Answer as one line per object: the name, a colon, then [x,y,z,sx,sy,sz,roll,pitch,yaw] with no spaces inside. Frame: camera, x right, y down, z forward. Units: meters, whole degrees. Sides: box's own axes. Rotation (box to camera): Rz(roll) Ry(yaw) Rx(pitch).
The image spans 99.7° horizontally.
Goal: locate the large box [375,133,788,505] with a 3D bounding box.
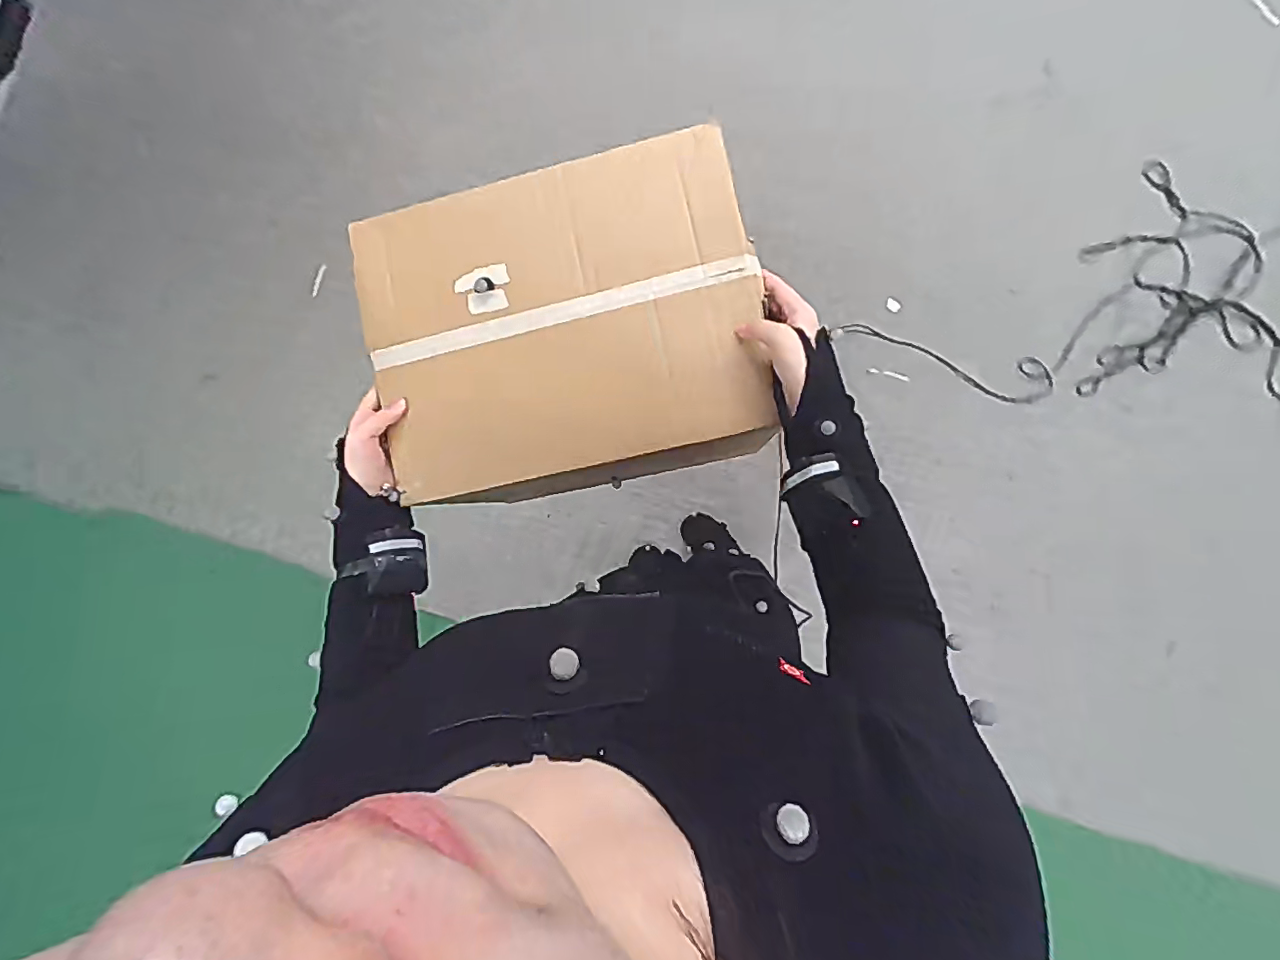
large box: [-0.052,-0.160,0.713,0.408,0.320,0.320,-12,86,8]
